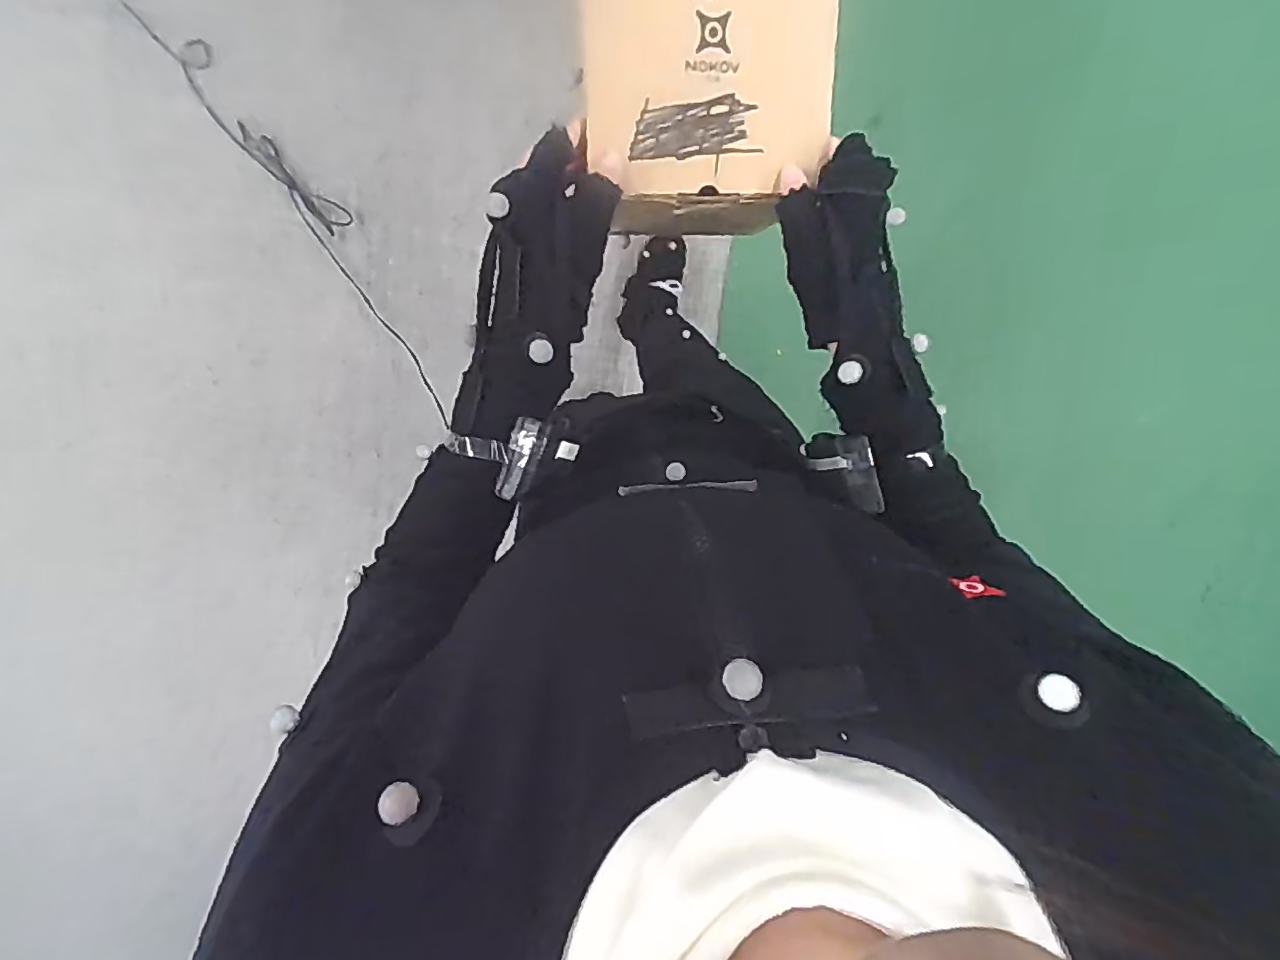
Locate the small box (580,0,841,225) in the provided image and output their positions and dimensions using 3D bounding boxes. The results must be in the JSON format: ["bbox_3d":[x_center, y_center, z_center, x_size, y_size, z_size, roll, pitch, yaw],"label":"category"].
[{"bbox_3d":[0.038,-0.303,0.417,0.168,0.176,0.179,-2,106,-5],"label":"small box"}]

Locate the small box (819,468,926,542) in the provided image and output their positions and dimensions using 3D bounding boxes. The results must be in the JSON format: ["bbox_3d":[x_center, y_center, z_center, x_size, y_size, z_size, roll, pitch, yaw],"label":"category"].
[{"bbox_3d":[0.604,0.072,1.424,0.179,0.176,0.168,8,102,-8],"label":"small box"}]
